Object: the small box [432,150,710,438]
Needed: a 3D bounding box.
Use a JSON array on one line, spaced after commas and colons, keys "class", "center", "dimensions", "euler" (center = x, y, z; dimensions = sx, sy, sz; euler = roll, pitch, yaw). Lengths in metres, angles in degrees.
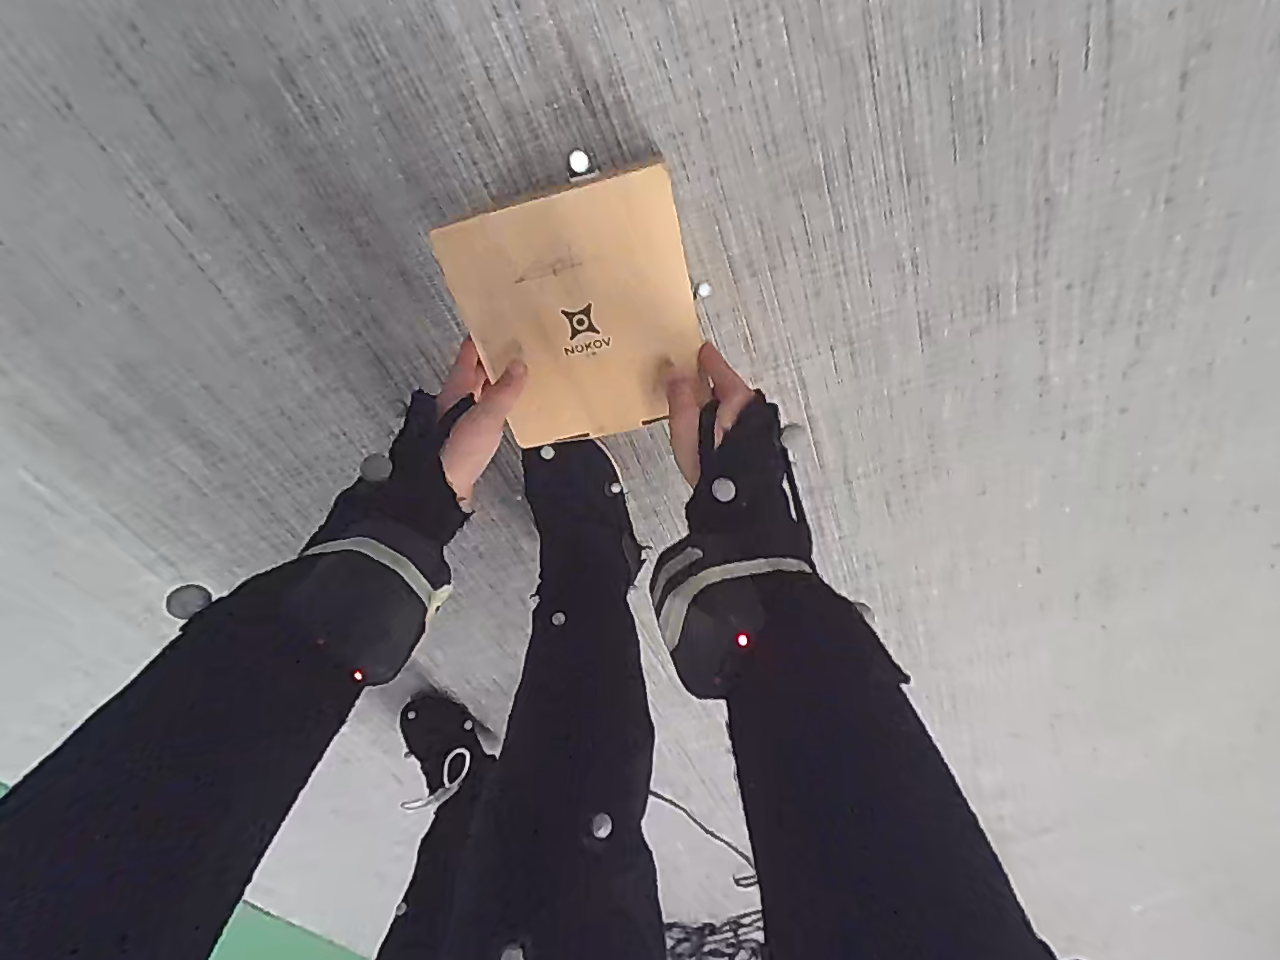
[{"class": "small box", "center": [-0.039, -0.161, 0.457], "dimensions": [0.168, 0.176, 0.179], "euler": [-11, 121, 8]}]
